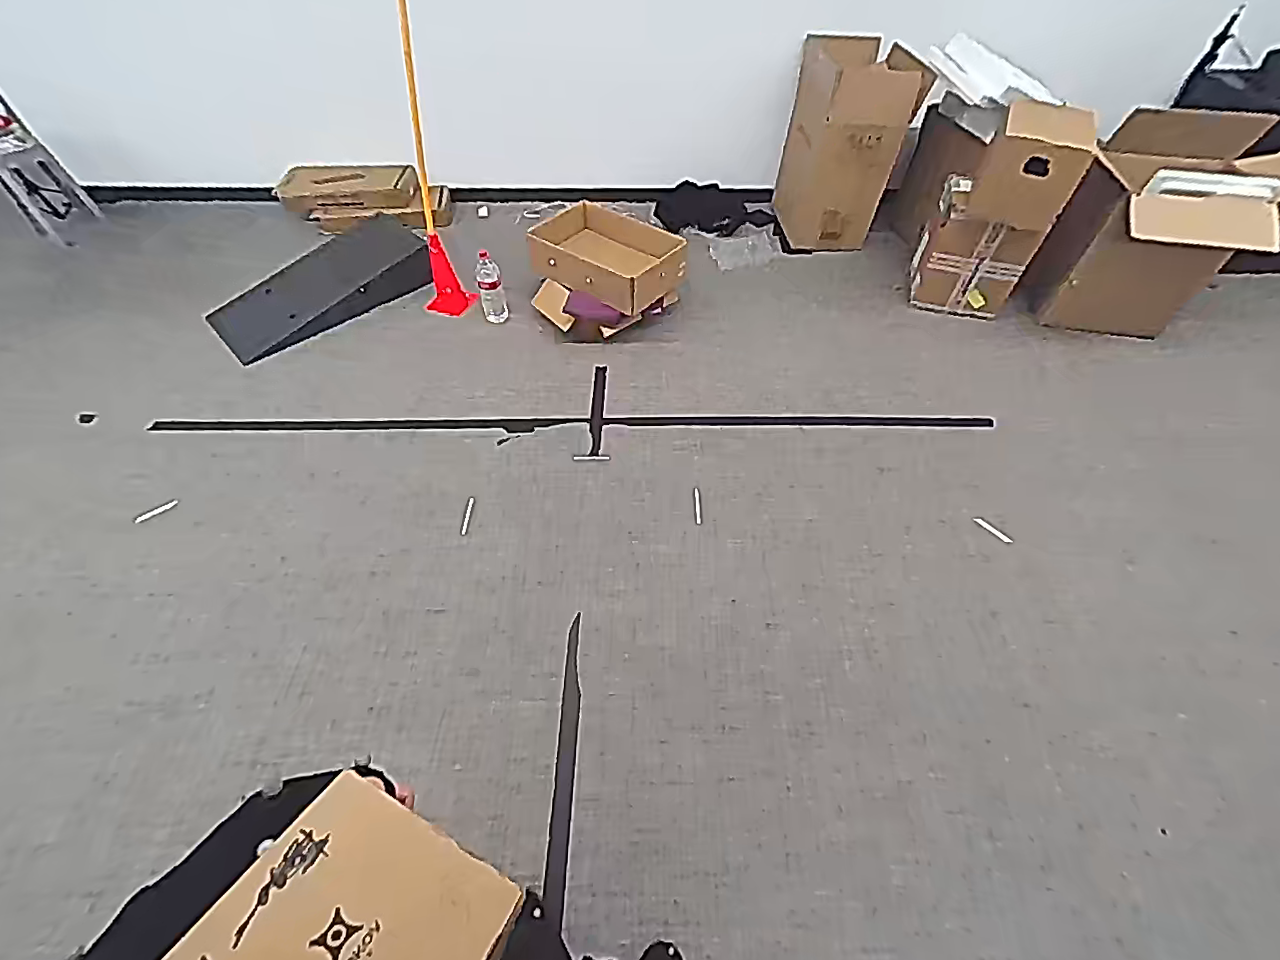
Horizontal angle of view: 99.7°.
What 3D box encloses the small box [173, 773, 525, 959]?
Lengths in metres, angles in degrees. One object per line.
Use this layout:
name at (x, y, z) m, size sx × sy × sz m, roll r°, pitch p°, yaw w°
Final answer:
small box at (-0.214, 0.373, 0.406) m, size 0.179 × 0.176 × 0.168 m, roll 27°, pitch 34°, yaw 10°
